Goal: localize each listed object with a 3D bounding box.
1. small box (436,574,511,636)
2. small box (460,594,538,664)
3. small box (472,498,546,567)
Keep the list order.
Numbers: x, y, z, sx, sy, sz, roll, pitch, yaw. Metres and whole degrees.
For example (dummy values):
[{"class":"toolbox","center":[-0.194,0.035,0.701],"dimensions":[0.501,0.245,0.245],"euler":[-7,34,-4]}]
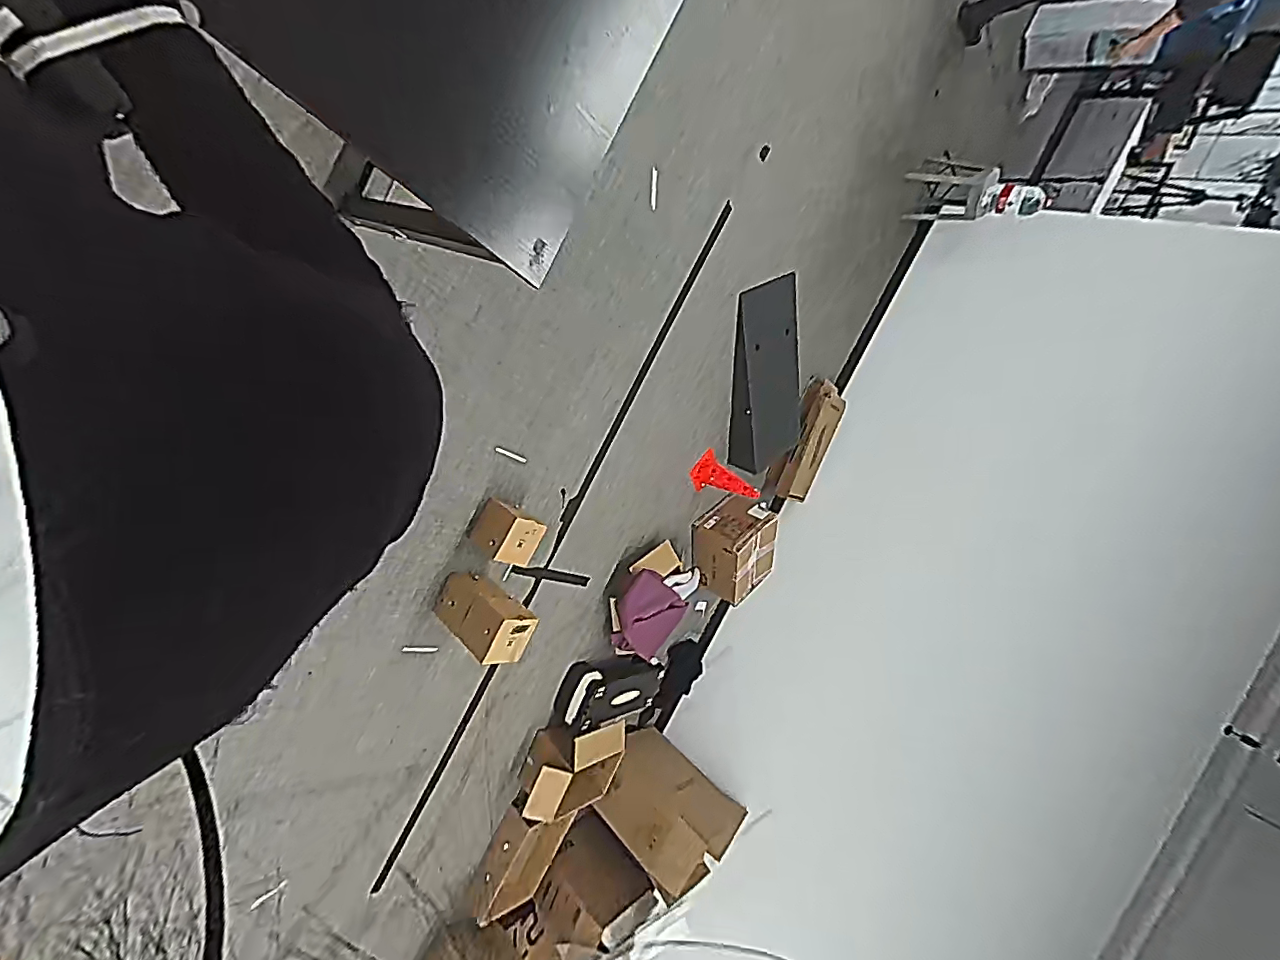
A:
[{"class":"small box","center":[-0.617,0.458,1.989],"dimensions":[0.179,0.176,0.168],"euler":[21,96,-54]},{"class":"small box","center":[-0.497,0.515,1.890],"dimensions":[0.168,0.176,0.179],"euler":[22,96,-54]},{"class":"small box","center":[-0.484,0.191,1.971],"dimensions":[0.168,0.176,0.179],"euler":[29,90,-55]}]
